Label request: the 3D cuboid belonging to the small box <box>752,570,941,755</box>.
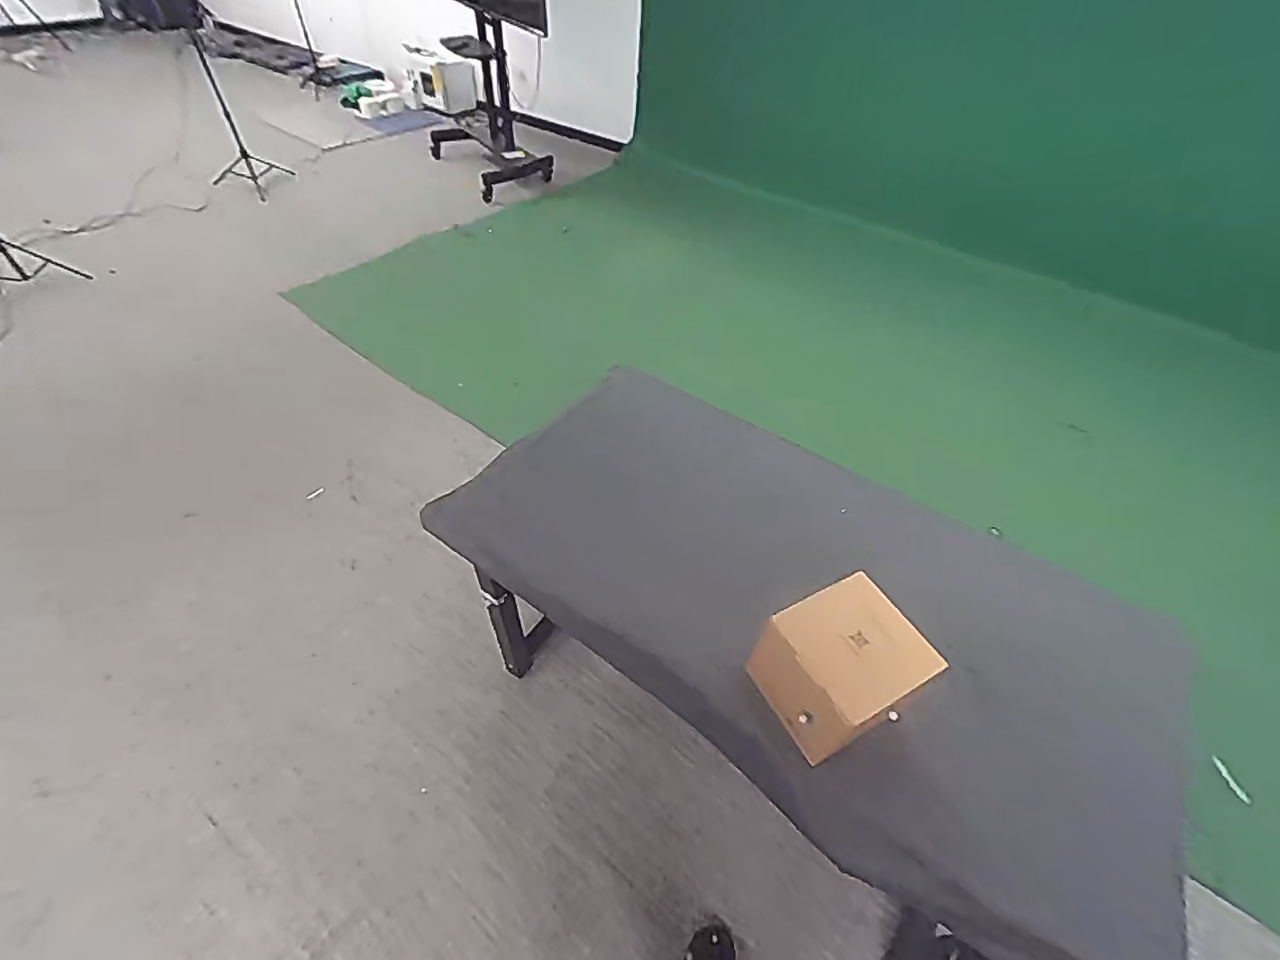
[{"bbox_3d":[0.282,0.267,0.787,0.179,0.176,0.168,-20,54,-22],"label":"small box"}]
